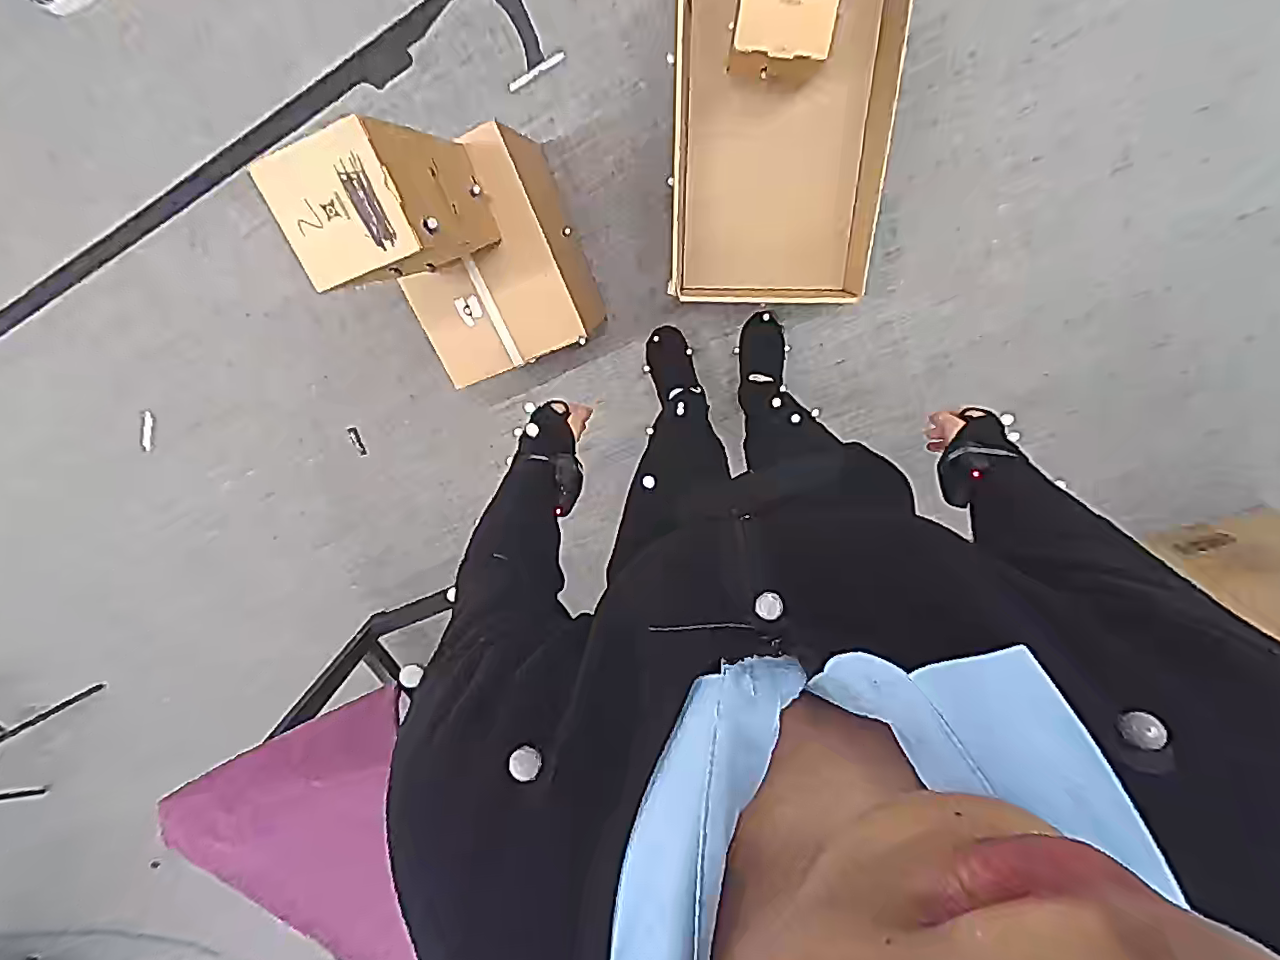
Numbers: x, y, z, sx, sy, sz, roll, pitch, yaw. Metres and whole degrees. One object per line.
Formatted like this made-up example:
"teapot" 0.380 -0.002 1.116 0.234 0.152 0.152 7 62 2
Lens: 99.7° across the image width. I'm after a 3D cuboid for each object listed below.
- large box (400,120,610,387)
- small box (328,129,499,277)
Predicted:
"large box" -0.299 -0.475 1.175 0.320 0.320 0.408 -19 113 15
"small box" -0.369 -0.460 0.915 0.179 0.176 0.168 -16 114 13
